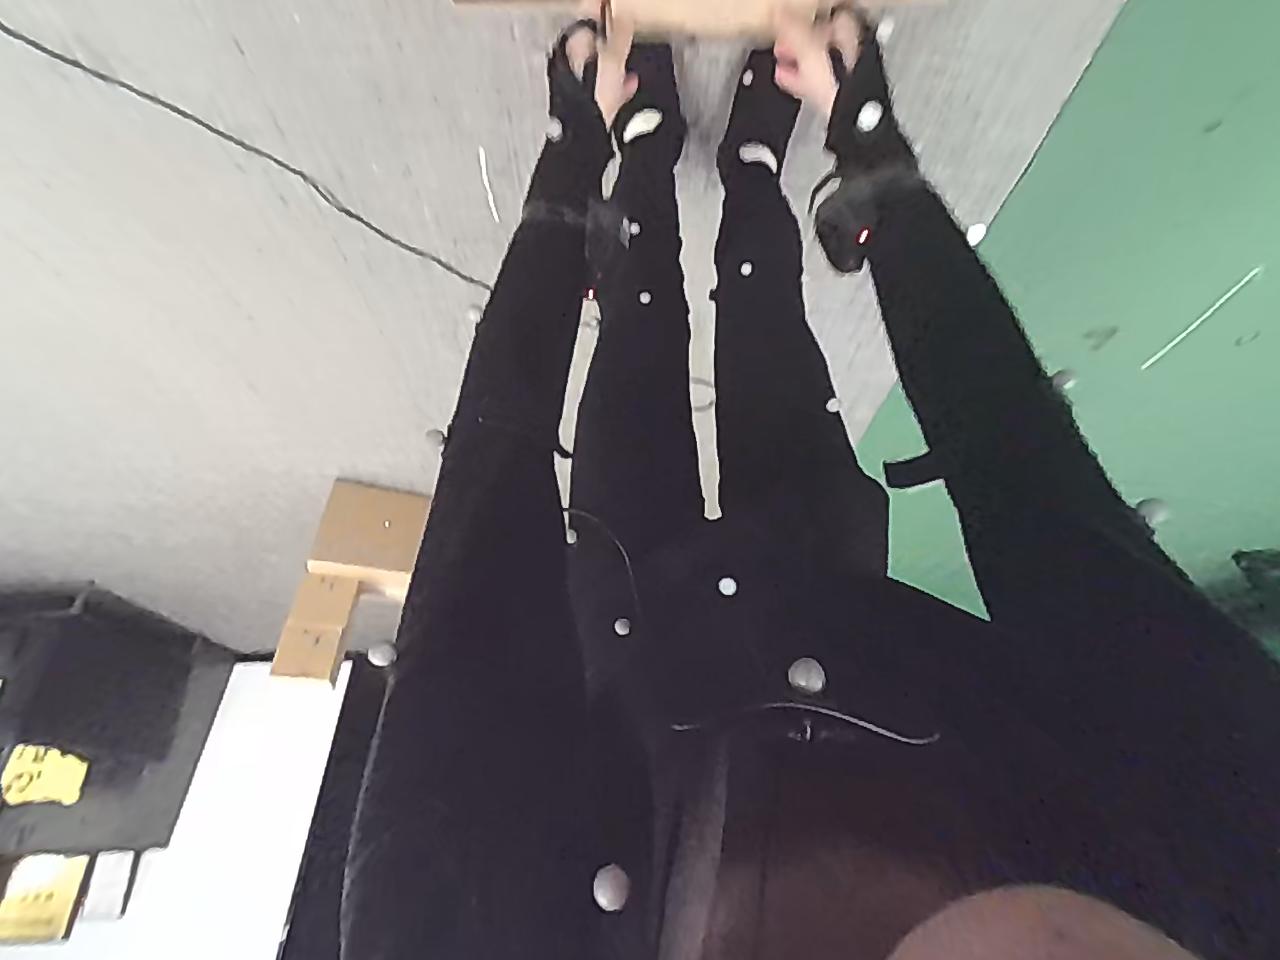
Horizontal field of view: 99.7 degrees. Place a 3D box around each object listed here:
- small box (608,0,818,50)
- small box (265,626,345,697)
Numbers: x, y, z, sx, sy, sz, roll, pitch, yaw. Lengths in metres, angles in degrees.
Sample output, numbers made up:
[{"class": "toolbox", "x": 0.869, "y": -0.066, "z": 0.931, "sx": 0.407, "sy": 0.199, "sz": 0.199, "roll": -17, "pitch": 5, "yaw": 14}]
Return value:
[{"class": "small box", "x": 0.058, "y": -0.476, "z": 0.446, "sx": 0.168, "sy": 0.176, "sz": 0.179, "roll": 1, "pitch": 126, "yaw": -4}, {"class": "small box", "x": -1.048, "y": 0.576, "z": 1.708, "sx": 0.168, "sy": 0.176, "sz": 0.179, "roll": 11, "pitch": 145, "yaw": -17}]
